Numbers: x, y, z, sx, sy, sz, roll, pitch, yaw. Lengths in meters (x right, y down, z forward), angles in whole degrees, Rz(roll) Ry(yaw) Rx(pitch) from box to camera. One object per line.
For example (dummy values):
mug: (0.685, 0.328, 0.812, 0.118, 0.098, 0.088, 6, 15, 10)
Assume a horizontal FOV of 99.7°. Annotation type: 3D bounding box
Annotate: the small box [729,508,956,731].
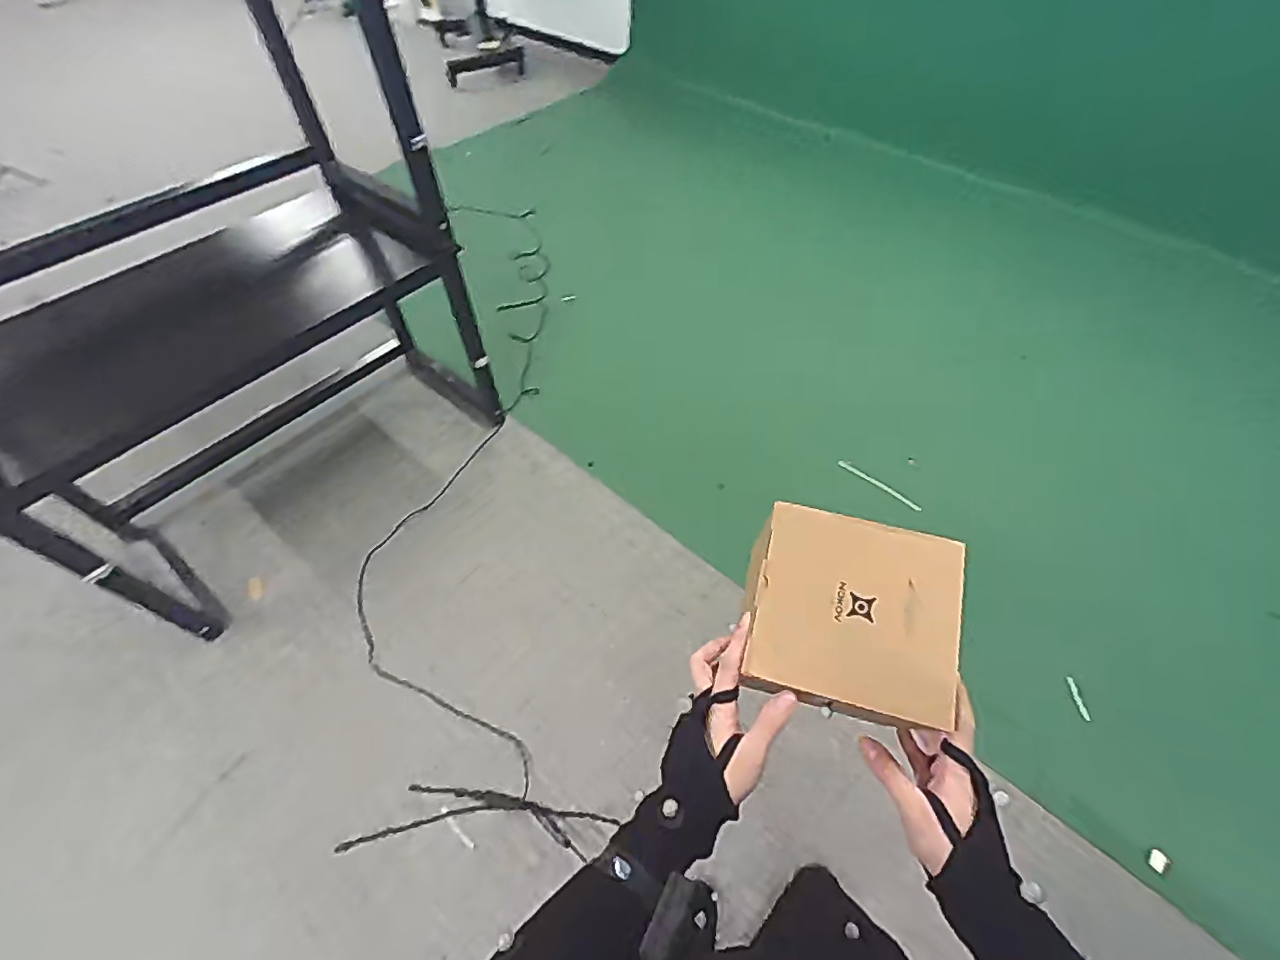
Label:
small box: (0.192, 0.147, 0.554, 0.179, 0.176, 0.168, 12, 69, 10)
